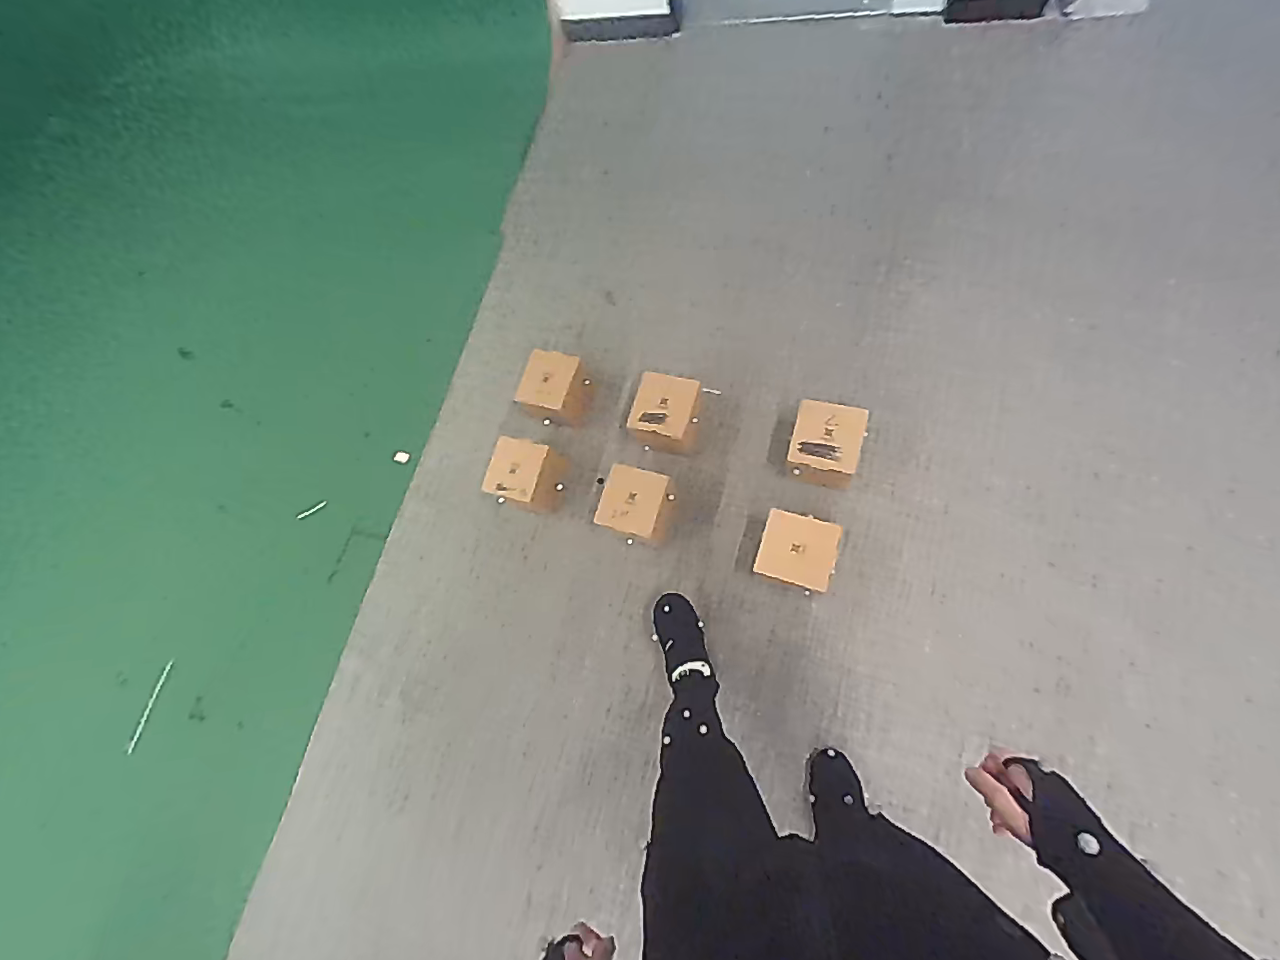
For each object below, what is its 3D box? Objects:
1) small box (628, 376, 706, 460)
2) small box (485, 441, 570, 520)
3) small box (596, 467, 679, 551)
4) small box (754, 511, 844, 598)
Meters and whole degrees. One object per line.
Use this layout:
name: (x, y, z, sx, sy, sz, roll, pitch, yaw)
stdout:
small box: (0.086, -0.174, 1.561, 0.168, 0.176, 0.179, 14, 77, 18)
small box: (-0.328, 0.004, 1.619, 0.168, 0.176, 0.179, 13, 76, 19)
small box: (0.002, 0.085, 1.506, 0.168, 0.176, 0.179, 14, 78, 19)
small box: (0.399, 0.194, 1.368, 0.179, 0.176, 0.168, 15, 78, 18)
